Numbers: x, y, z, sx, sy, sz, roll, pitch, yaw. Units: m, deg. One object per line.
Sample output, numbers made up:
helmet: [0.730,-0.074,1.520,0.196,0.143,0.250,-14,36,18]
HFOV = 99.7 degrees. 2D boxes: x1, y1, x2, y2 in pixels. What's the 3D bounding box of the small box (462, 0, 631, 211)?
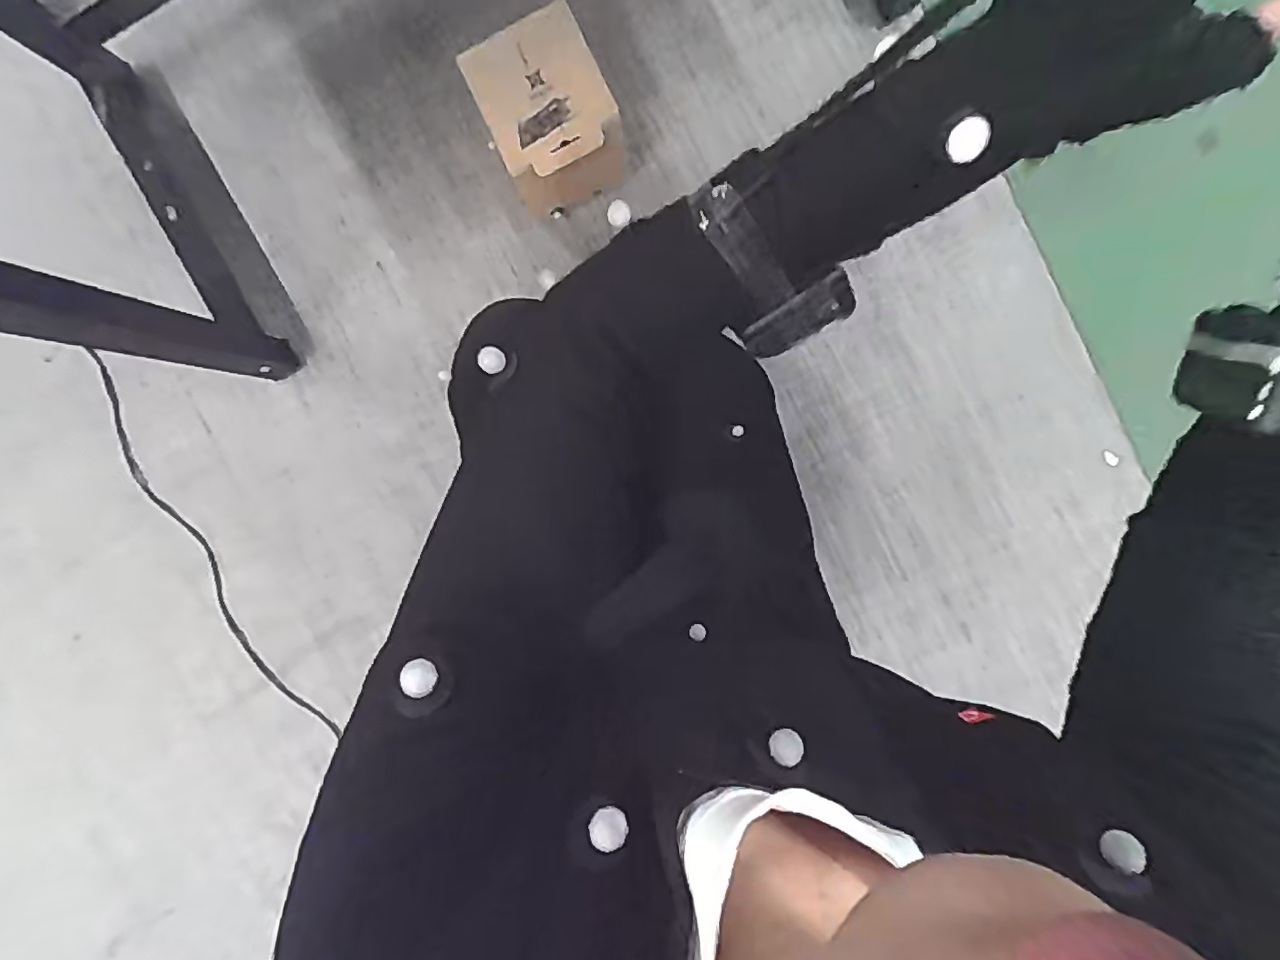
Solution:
small box: [-0.123,-0.528,0.792,0.168,0.176,0.179,-25,90,5]
